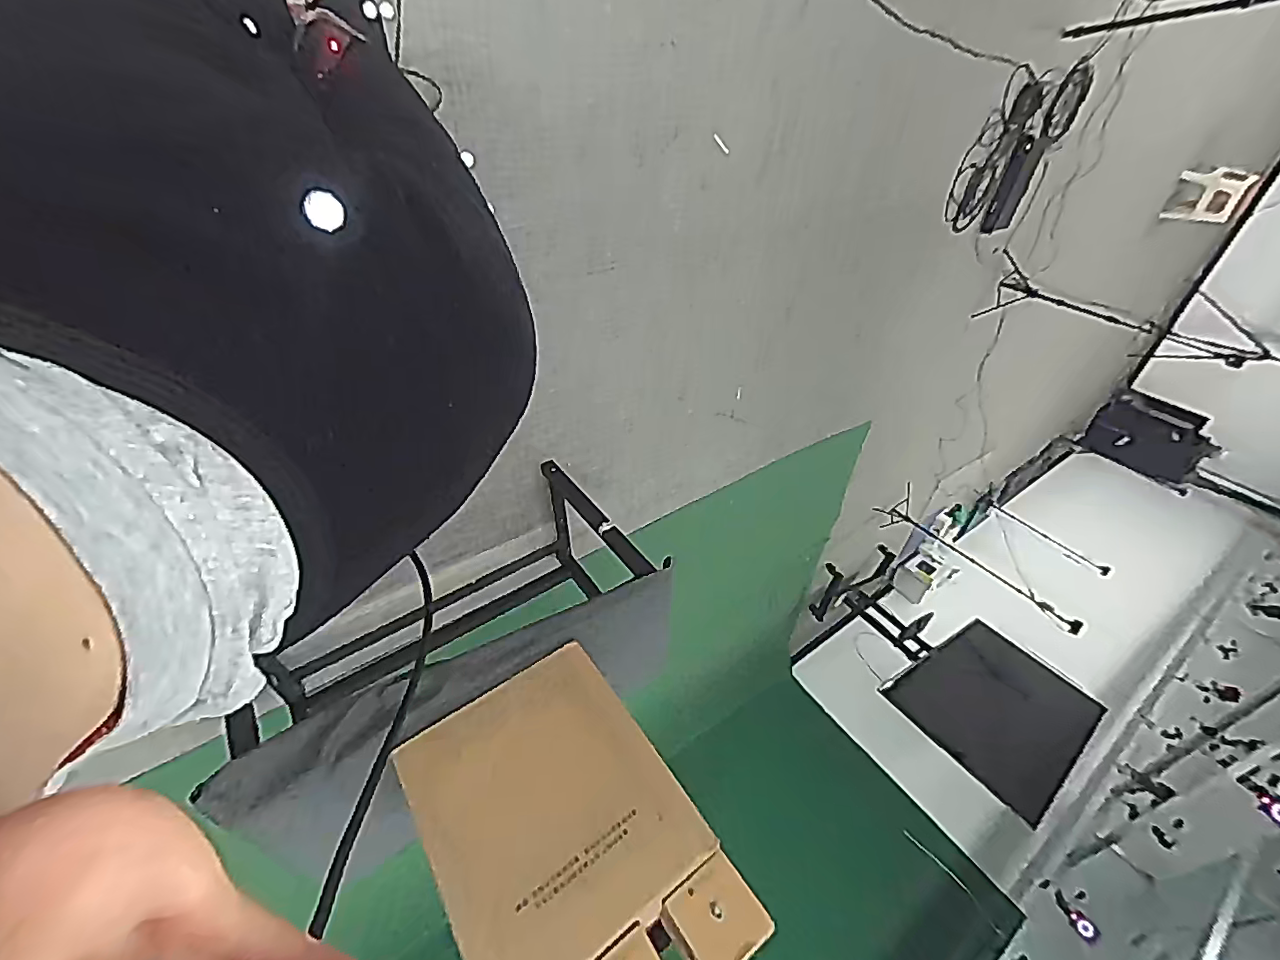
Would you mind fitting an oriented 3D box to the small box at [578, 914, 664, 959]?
[{"bbox_3d":[-0.023,1.014,1.075,0.168,0.176,0.179,-29,138,-23],"label":"small box"}]

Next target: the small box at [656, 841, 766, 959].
[{"bbox_3d":[0.148,0.934,1.180,0.168,0.176,0.179,-27,138,-28],"label":"small box"}]
